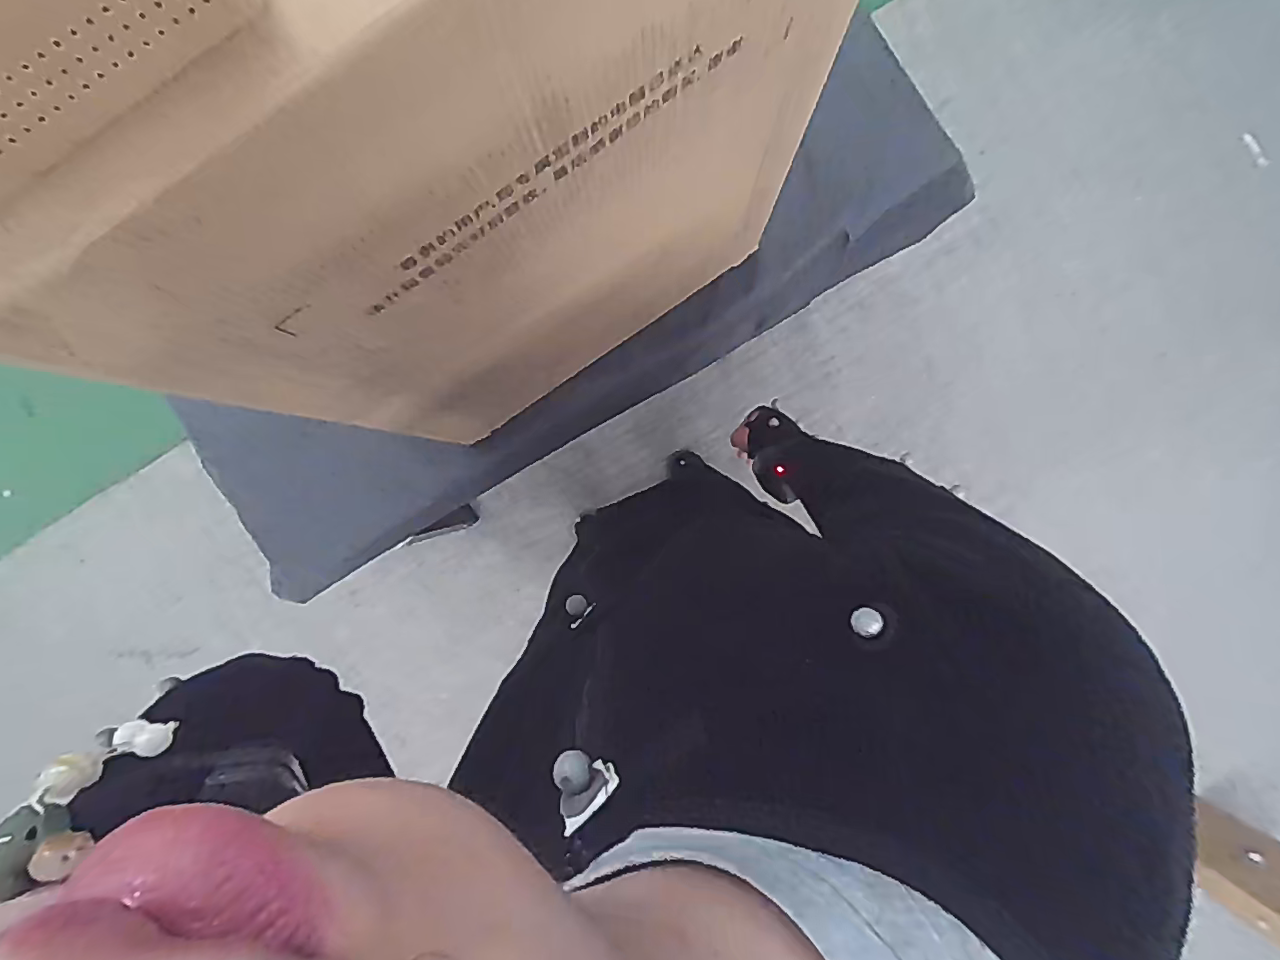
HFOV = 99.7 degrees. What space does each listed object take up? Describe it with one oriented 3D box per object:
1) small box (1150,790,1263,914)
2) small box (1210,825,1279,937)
[{"bbox_3d":[1.539,0.976,1.435,0.168,0.176,0.179,-35,88,0],"label":"small box"},{"bbox_3d":[1.533,0.970,1.271,0.168,0.176,0.179,-35,89,0],"label":"small box"}]
